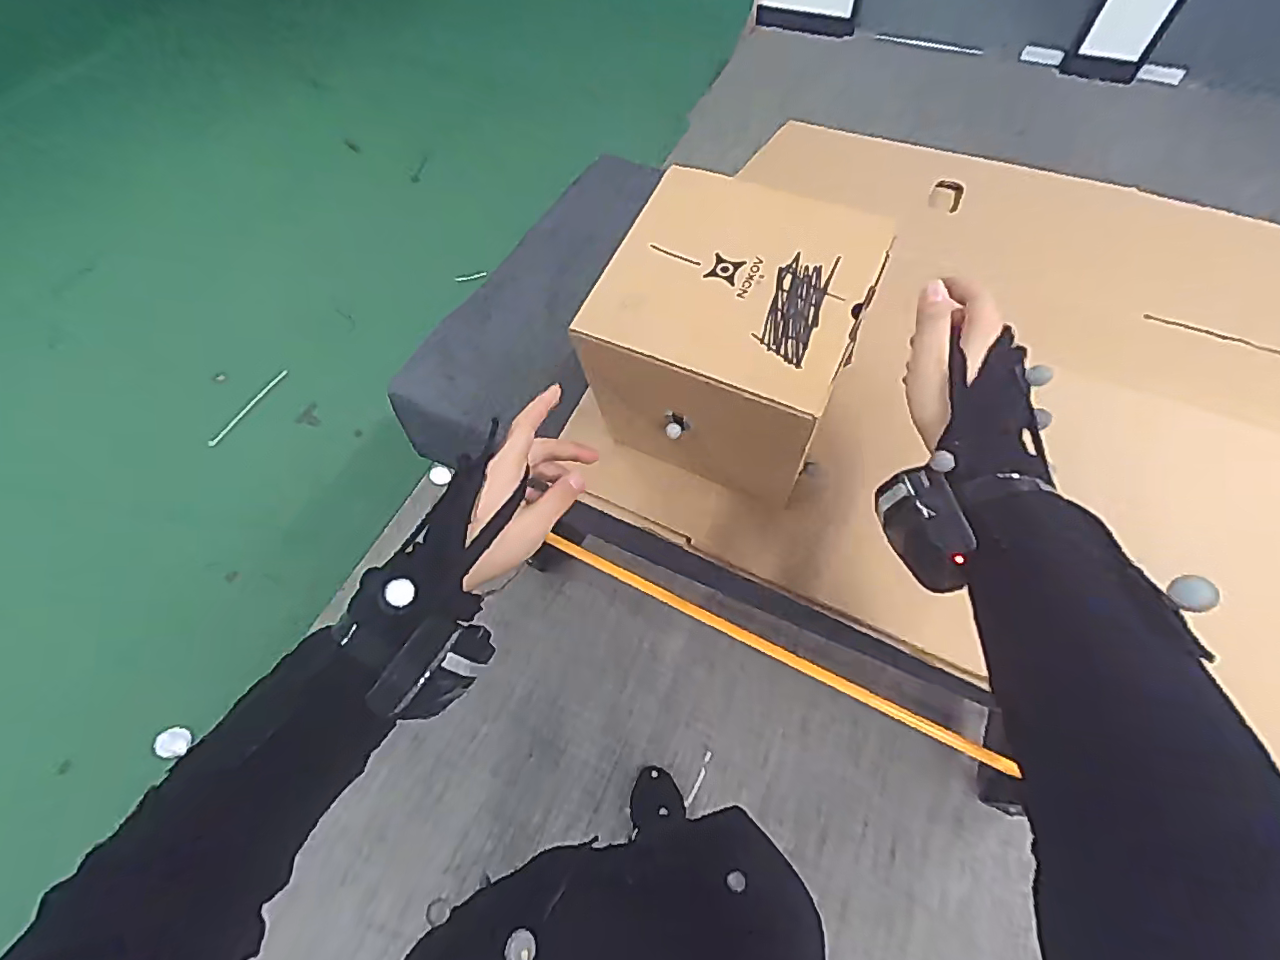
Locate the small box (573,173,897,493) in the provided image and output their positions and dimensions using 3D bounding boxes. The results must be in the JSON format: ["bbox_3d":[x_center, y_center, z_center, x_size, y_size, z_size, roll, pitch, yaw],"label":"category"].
[{"bbox_3d":[0.075,-0.106,0.445,0.179,0.176,0.168,23,73,16],"label":"small box"}]
